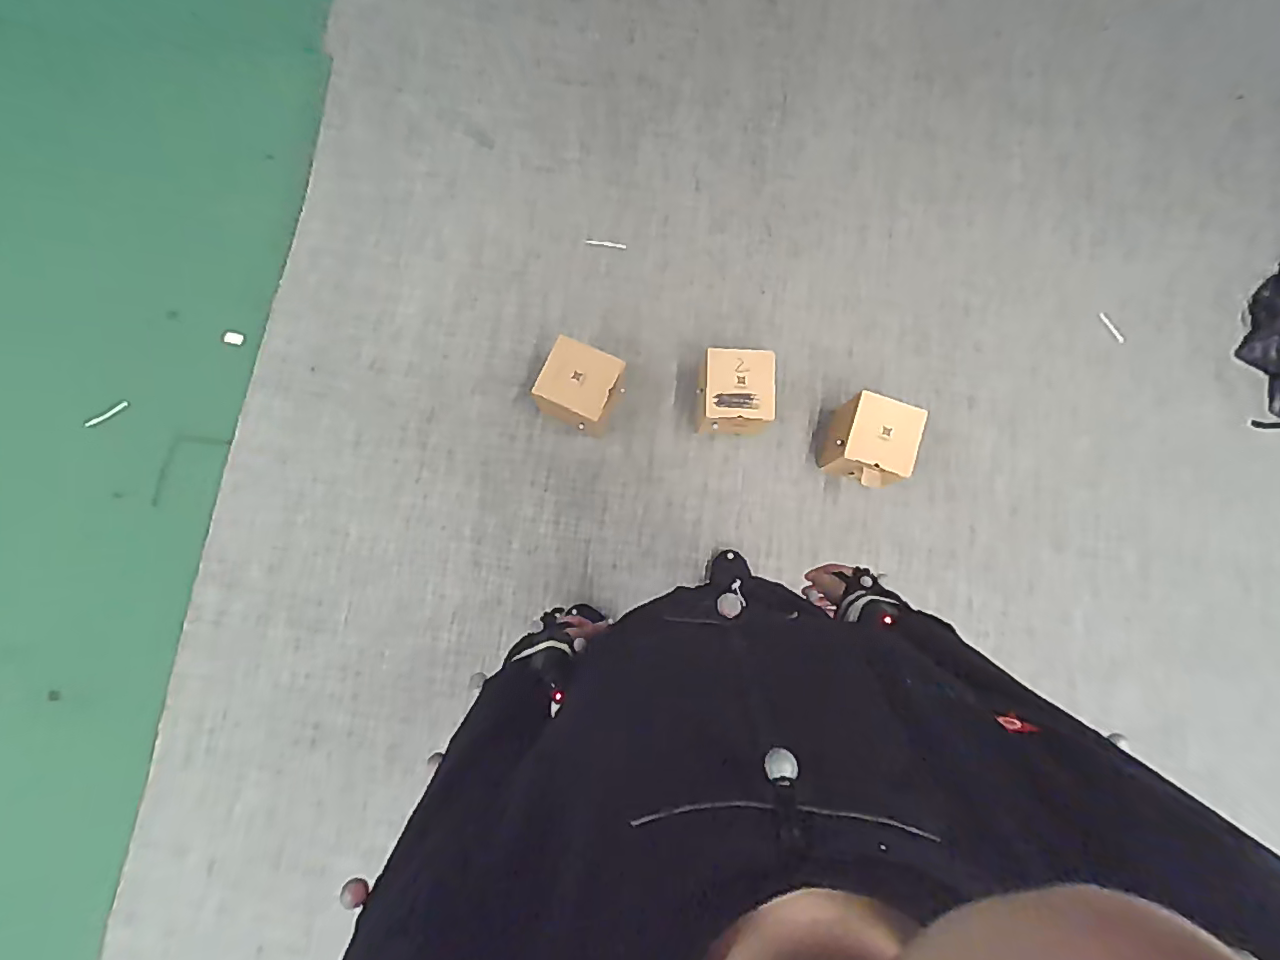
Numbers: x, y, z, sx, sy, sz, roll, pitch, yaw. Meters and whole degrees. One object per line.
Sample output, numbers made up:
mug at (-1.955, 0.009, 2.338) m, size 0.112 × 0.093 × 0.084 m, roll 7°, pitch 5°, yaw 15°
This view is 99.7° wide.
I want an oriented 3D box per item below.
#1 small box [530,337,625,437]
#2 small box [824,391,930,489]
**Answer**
small box at (-0.145, -0.221, 1.343) m, size 0.179 × 0.176 × 0.168 m, roll 23°, pitch 80°, yaw 4°
small box at (0.576, -0.092, 1.335) m, size 0.168 × 0.176 × 0.179 m, roll 19°, pitch 82°, yaw 2°
